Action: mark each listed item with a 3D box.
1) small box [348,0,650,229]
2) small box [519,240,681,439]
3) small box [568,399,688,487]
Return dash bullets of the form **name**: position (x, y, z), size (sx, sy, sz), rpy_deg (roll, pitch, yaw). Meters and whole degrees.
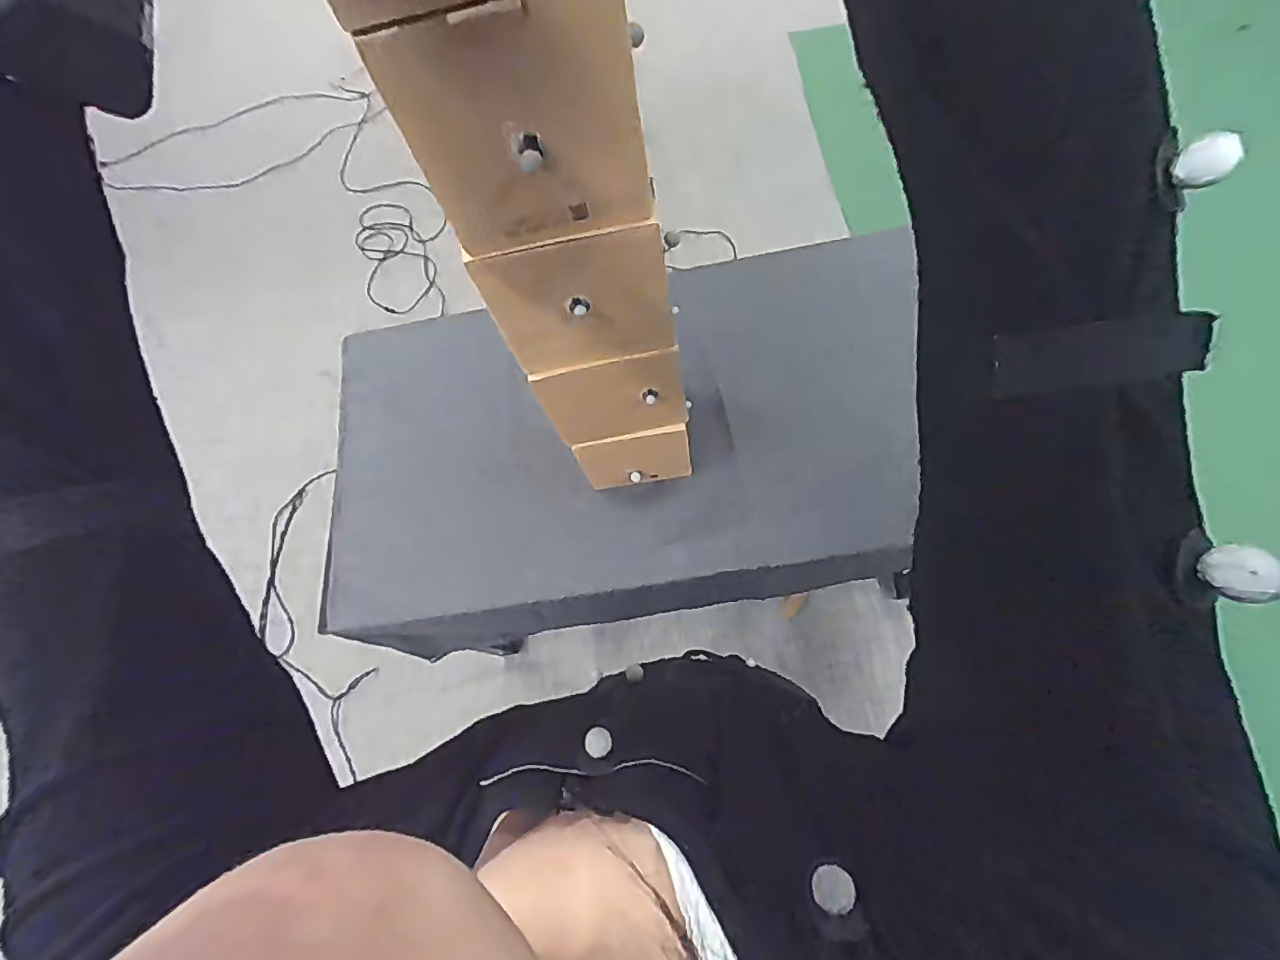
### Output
- **small box**: position (-0.091, -0.320, 0.416), size (0.168, 0.176, 0.179), rpy_deg (-10, 65, 4)
- **small box**: position (-0.044, -0.173, 0.704), size (0.179, 0.176, 0.168), rpy_deg (-11, 65, 4)
- **small box**: position (-0.018, -0.108, 0.851), size (0.168, 0.176, 0.179), rpy_deg (-9, 67, 5)
